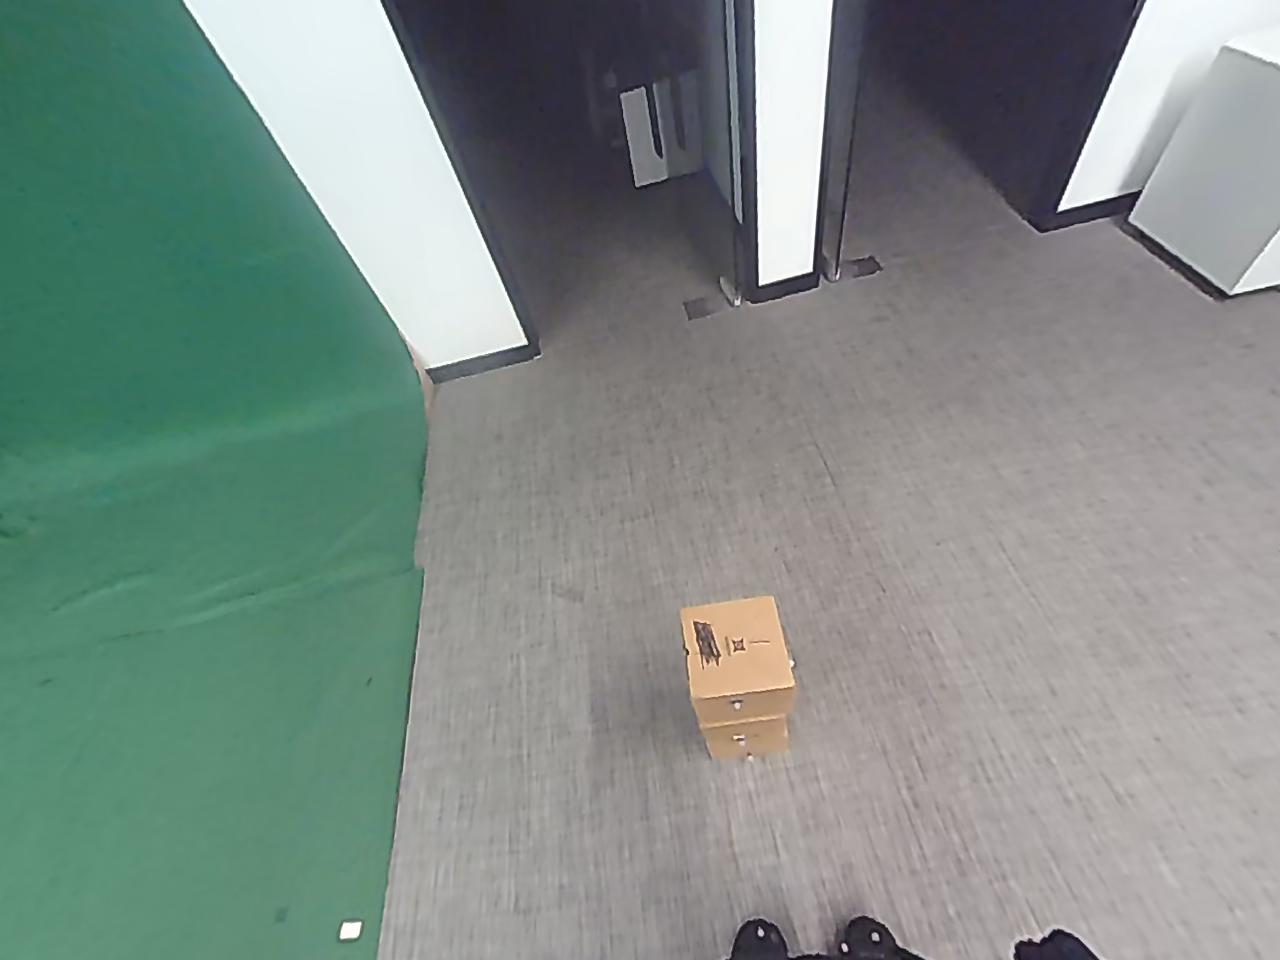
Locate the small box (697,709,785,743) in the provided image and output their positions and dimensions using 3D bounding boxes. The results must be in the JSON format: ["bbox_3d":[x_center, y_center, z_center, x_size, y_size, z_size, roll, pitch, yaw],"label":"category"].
[{"bbox_3d":[0.203,0.435,1.140,0.168,0.176,0.179,-11,52,7],"label":"small box"}]

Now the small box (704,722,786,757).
[{"bbox_3d":[0.235,0.536,1.263,0.179,0.176,0.168,-9,52,6],"label":"small box"}]

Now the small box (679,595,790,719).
[{"bbox_3d":[0.177,0.335,1.011,0.179,0.176,0.168,-10,52,7],"label":"small box"}]
